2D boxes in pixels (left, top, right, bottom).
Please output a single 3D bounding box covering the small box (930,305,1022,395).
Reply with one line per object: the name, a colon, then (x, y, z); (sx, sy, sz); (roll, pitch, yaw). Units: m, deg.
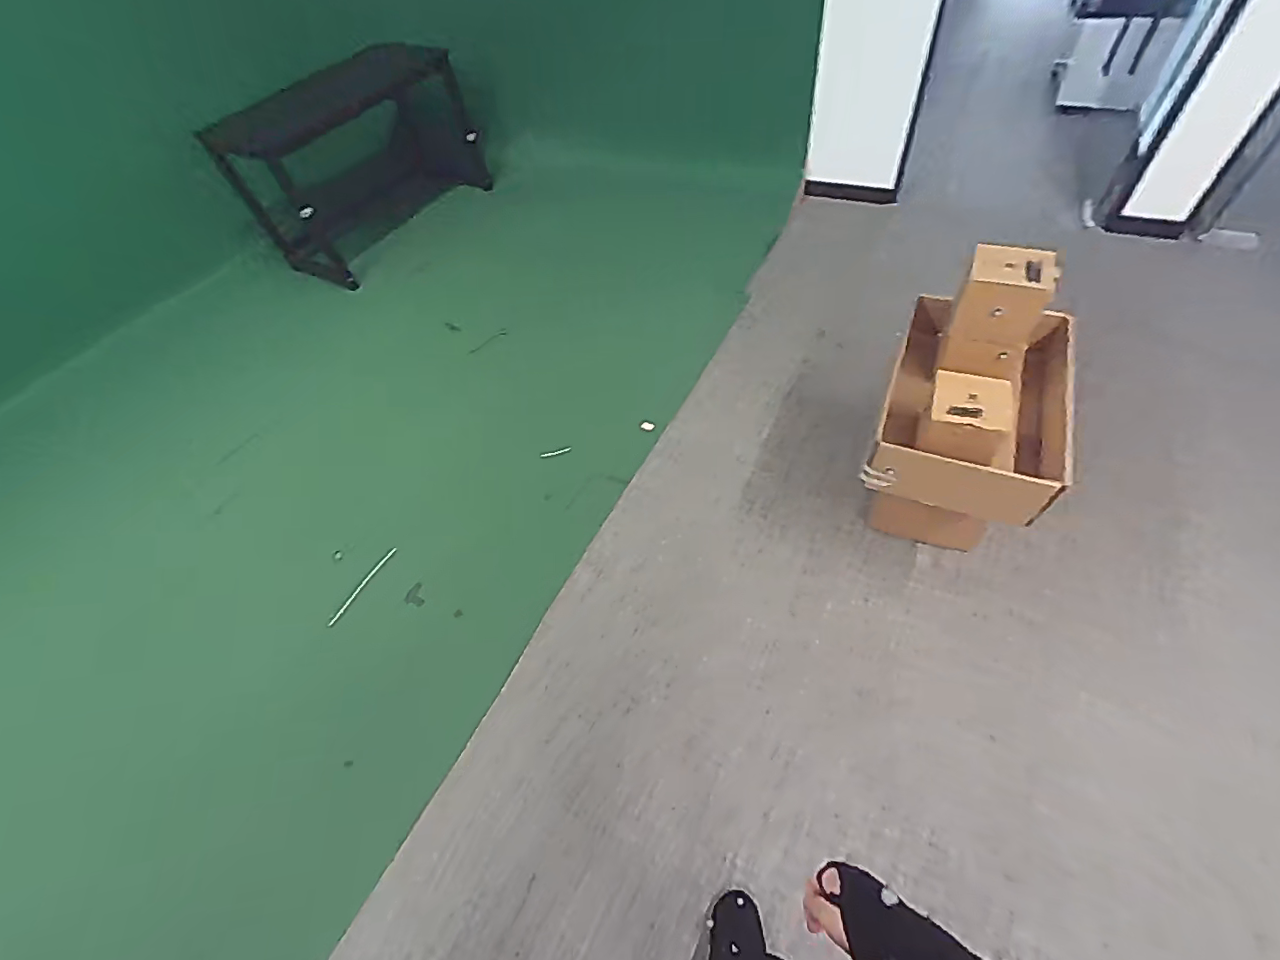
small box: (0.922, -0.356, 1.493); (0.179, 0.176, 0.168); (14, 56, 17)
